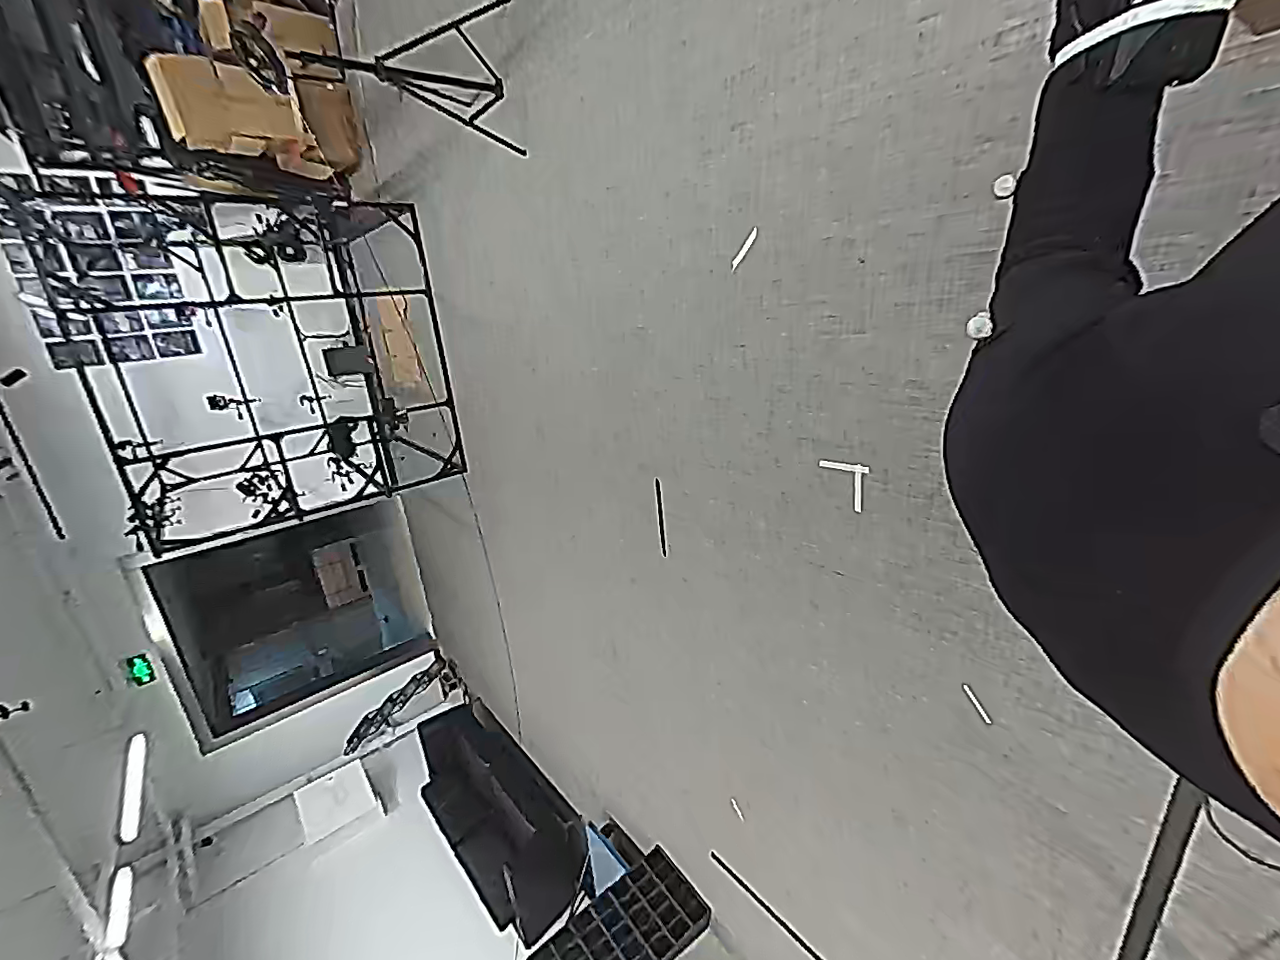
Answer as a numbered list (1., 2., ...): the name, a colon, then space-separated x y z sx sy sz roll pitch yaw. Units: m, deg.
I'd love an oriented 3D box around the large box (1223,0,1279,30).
1. large box: 0.555 -0.480 0.225 0.408 0.320 0.320 14 122 49
